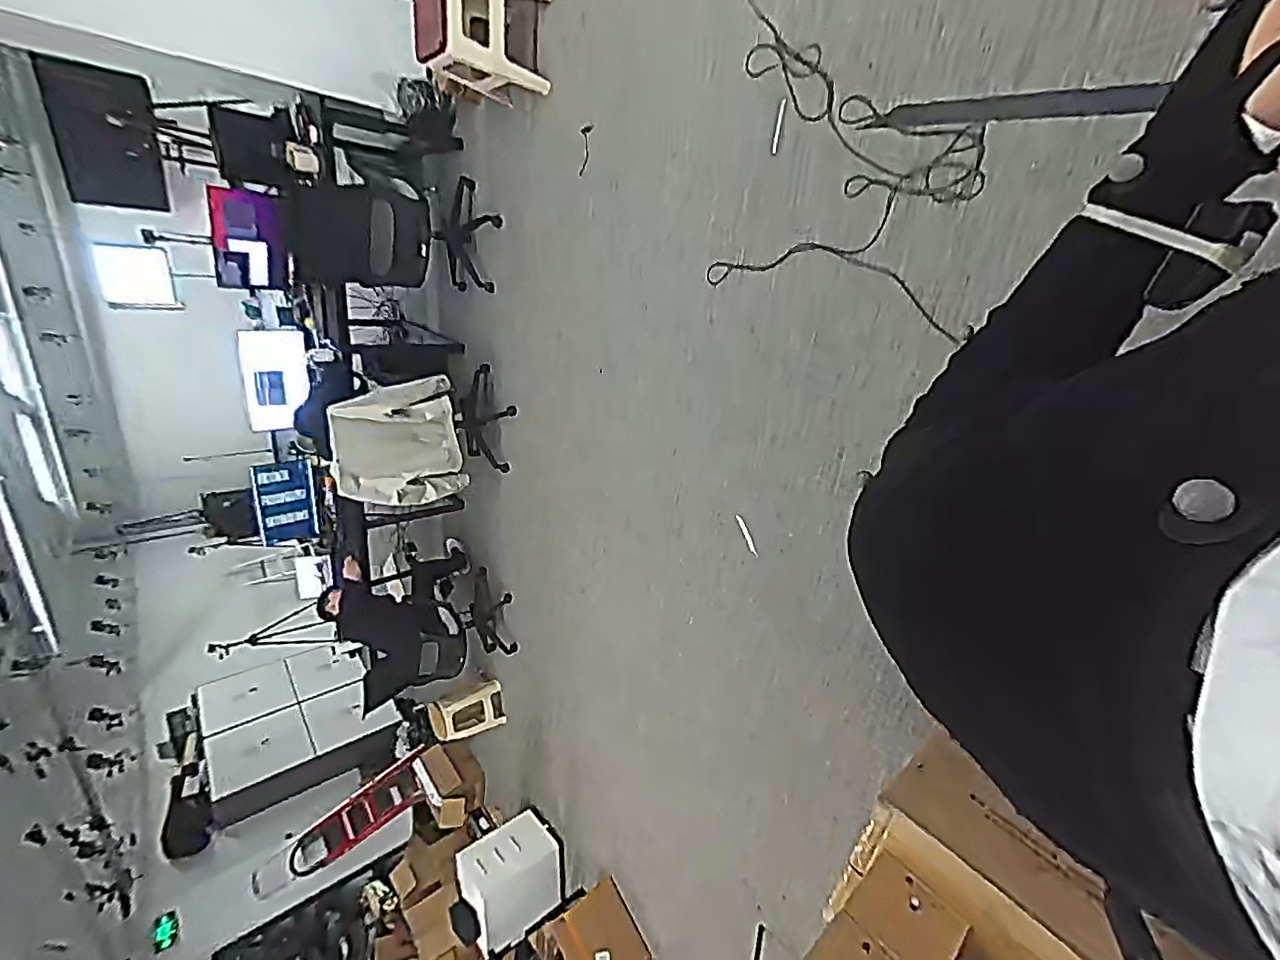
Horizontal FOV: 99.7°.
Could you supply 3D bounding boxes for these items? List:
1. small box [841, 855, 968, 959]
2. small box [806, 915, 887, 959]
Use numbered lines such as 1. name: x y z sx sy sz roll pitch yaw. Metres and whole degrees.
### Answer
1. small box: 0.459 0.841 0.976 0.168 0.176 0.179 29 120 40
2. small box: 0.334 0.870 0.874 0.168 0.176 0.179 31 121 40
